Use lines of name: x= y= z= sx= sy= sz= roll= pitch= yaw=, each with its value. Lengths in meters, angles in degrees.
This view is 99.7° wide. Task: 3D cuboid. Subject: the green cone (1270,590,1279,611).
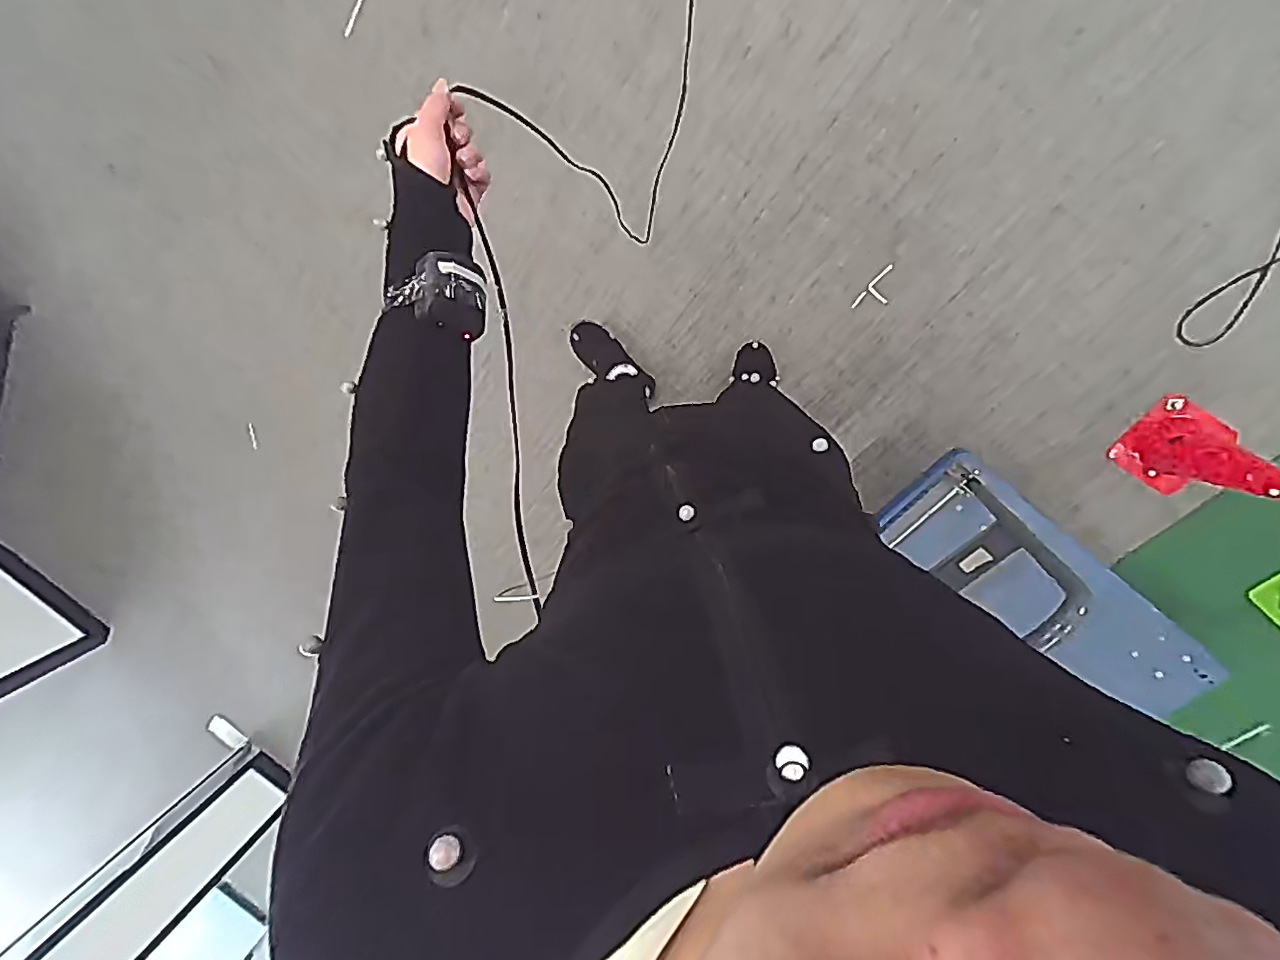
green cone: x=1.673 y=0.345 z=1.170 sx=0.202 sy=0.368 sz=0.200 roll=40 pitch=112 yaw=-3
